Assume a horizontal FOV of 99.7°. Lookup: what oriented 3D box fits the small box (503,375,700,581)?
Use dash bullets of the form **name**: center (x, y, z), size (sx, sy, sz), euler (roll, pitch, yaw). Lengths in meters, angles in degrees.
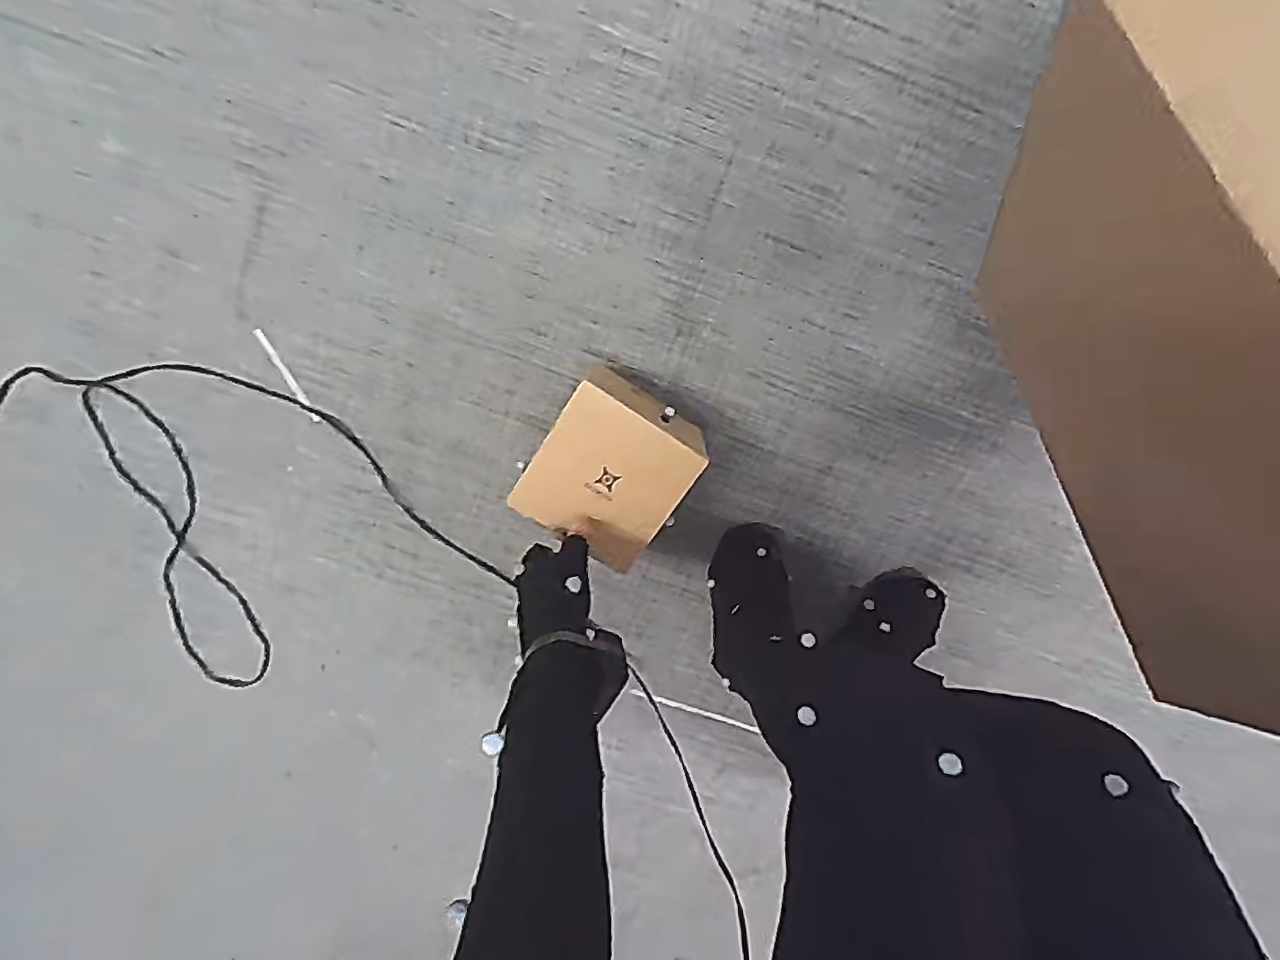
- **small box**: center (-0.044, -0.014, 0.687), size (0.168, 0.176, 0.179), euler (32, 108, -7)
